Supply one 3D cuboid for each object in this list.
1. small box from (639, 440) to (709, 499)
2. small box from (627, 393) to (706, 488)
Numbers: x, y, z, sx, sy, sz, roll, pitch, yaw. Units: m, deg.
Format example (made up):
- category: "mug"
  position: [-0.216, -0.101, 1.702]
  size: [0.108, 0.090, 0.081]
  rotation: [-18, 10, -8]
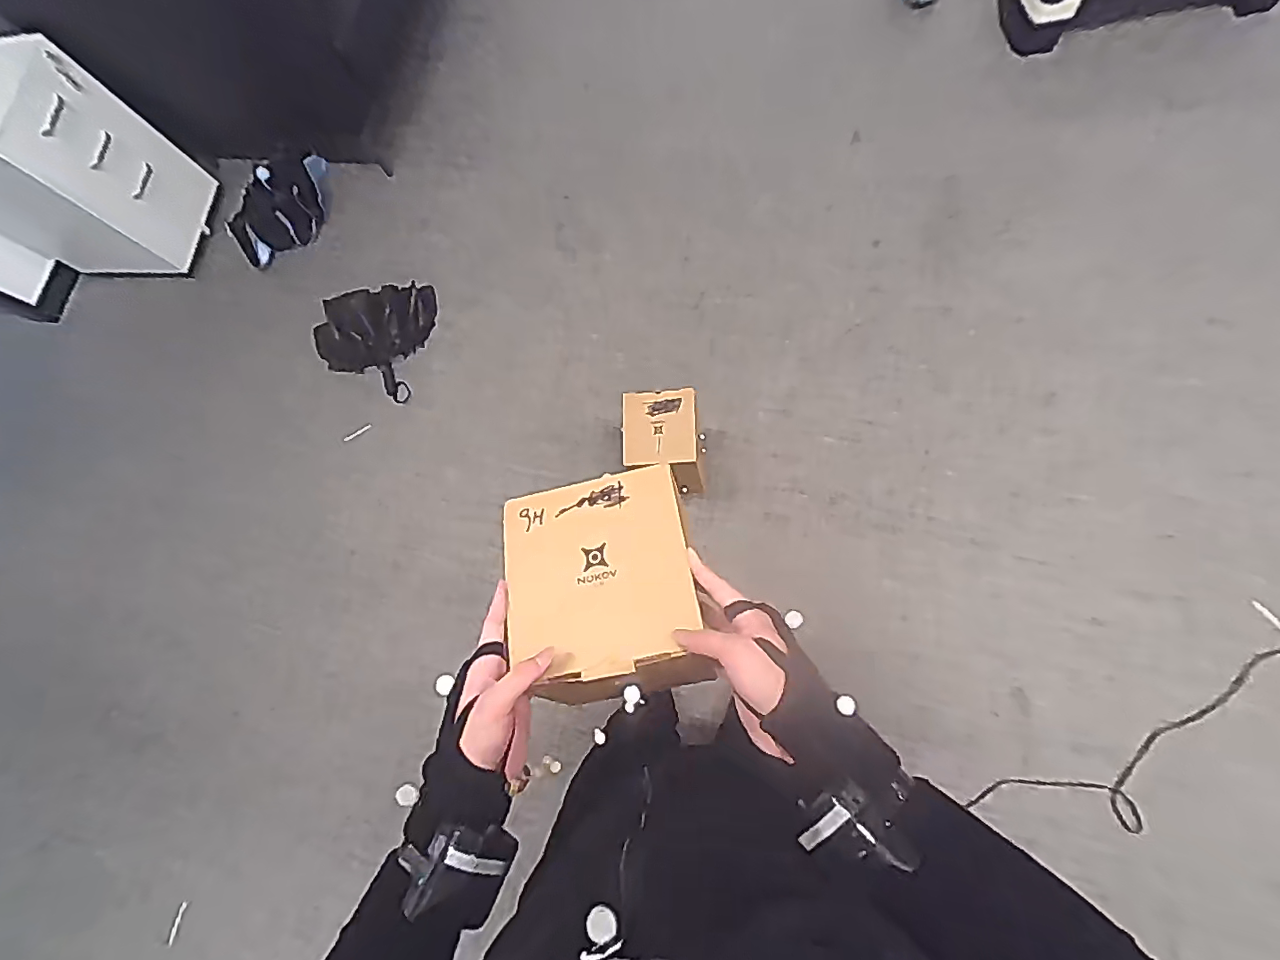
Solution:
- category: "small box"
  position: [0.093, -0.049, 1.435]
  size: [0.168, 0.176, 0.179]
  rotation: [-5, 73, 10]
- category: "small box"
  position: [0.066, -0.087, 1.277]
  size: [0.168, 0.176, 0.179]
  rotation: [-4, 76, 11]
